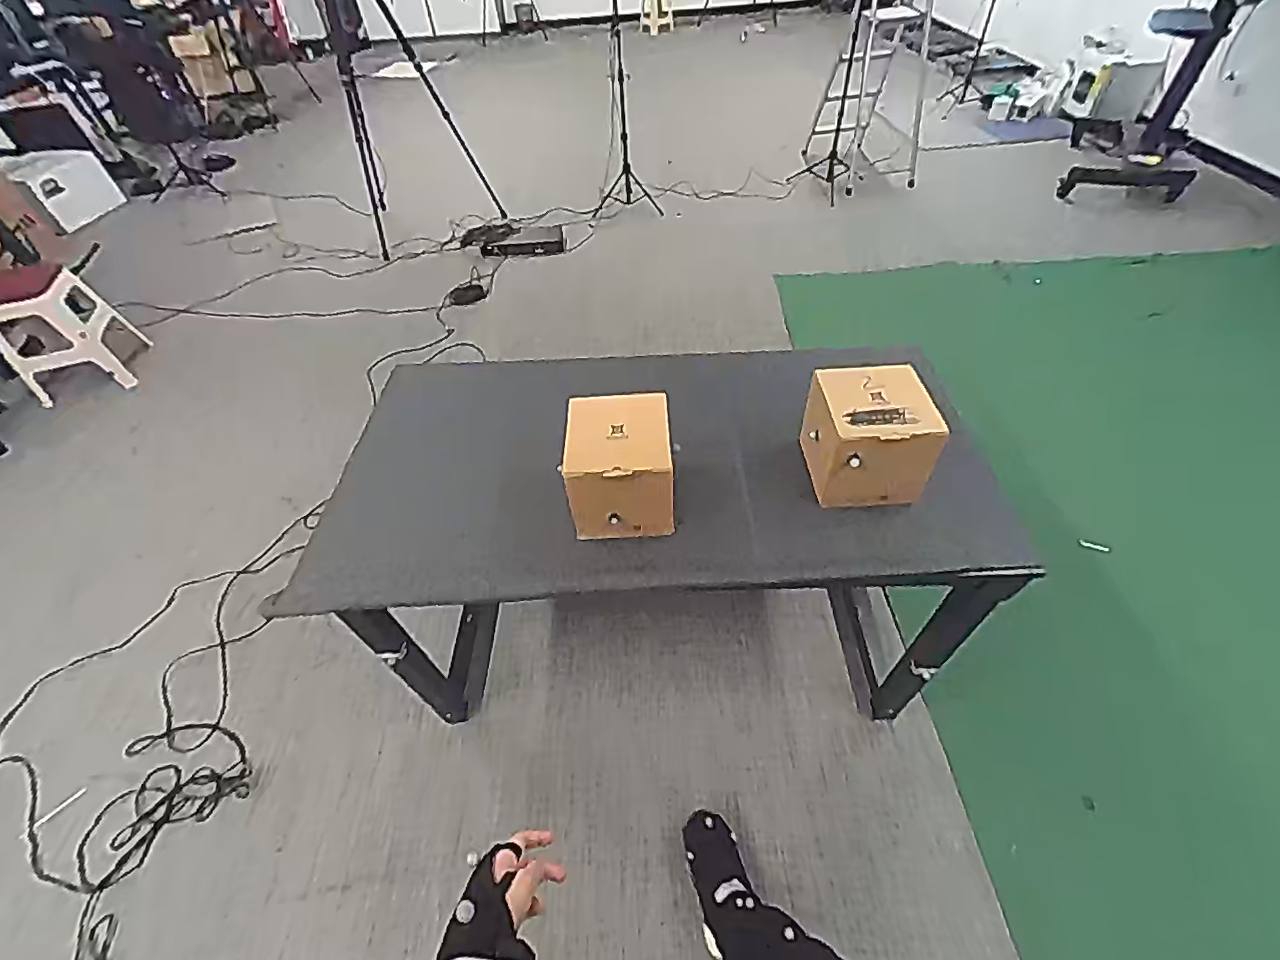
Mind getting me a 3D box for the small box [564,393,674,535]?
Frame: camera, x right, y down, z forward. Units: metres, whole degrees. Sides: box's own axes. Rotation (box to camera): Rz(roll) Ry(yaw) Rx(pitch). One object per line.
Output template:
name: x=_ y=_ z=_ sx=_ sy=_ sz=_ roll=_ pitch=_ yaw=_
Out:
small box: x=-0.031 y=-0.027 z=0.912 sx=0.168 sy=0.176 sz=0.179 roll=-2 pitch=49 yaw=1
